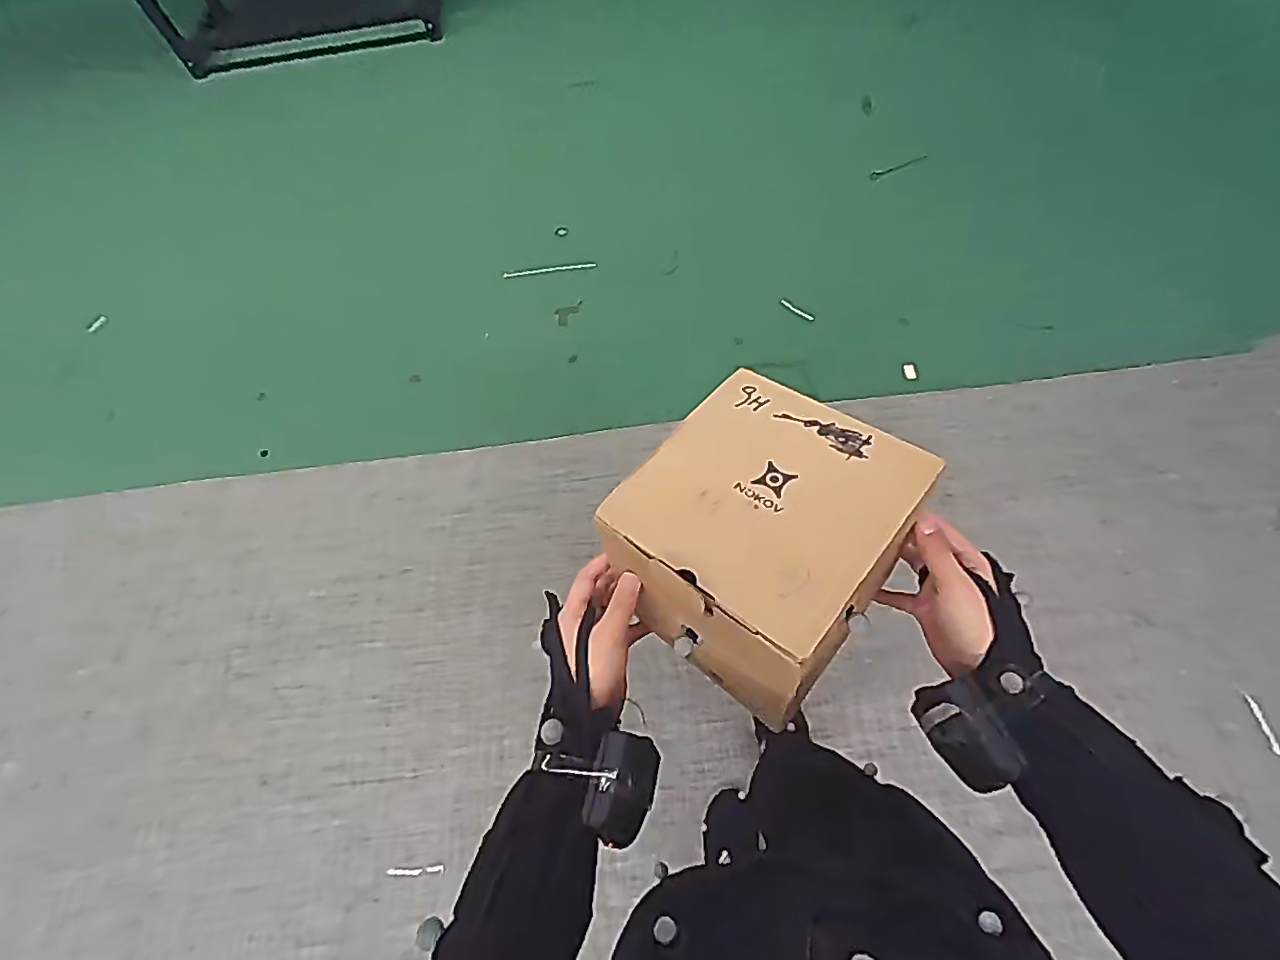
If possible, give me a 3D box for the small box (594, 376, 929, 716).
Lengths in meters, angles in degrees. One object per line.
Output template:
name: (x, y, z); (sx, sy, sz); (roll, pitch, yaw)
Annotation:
small box: (0.094, 0.056, 0.435); (0.168, 0.176, 0.179); (33, 65, 29)
